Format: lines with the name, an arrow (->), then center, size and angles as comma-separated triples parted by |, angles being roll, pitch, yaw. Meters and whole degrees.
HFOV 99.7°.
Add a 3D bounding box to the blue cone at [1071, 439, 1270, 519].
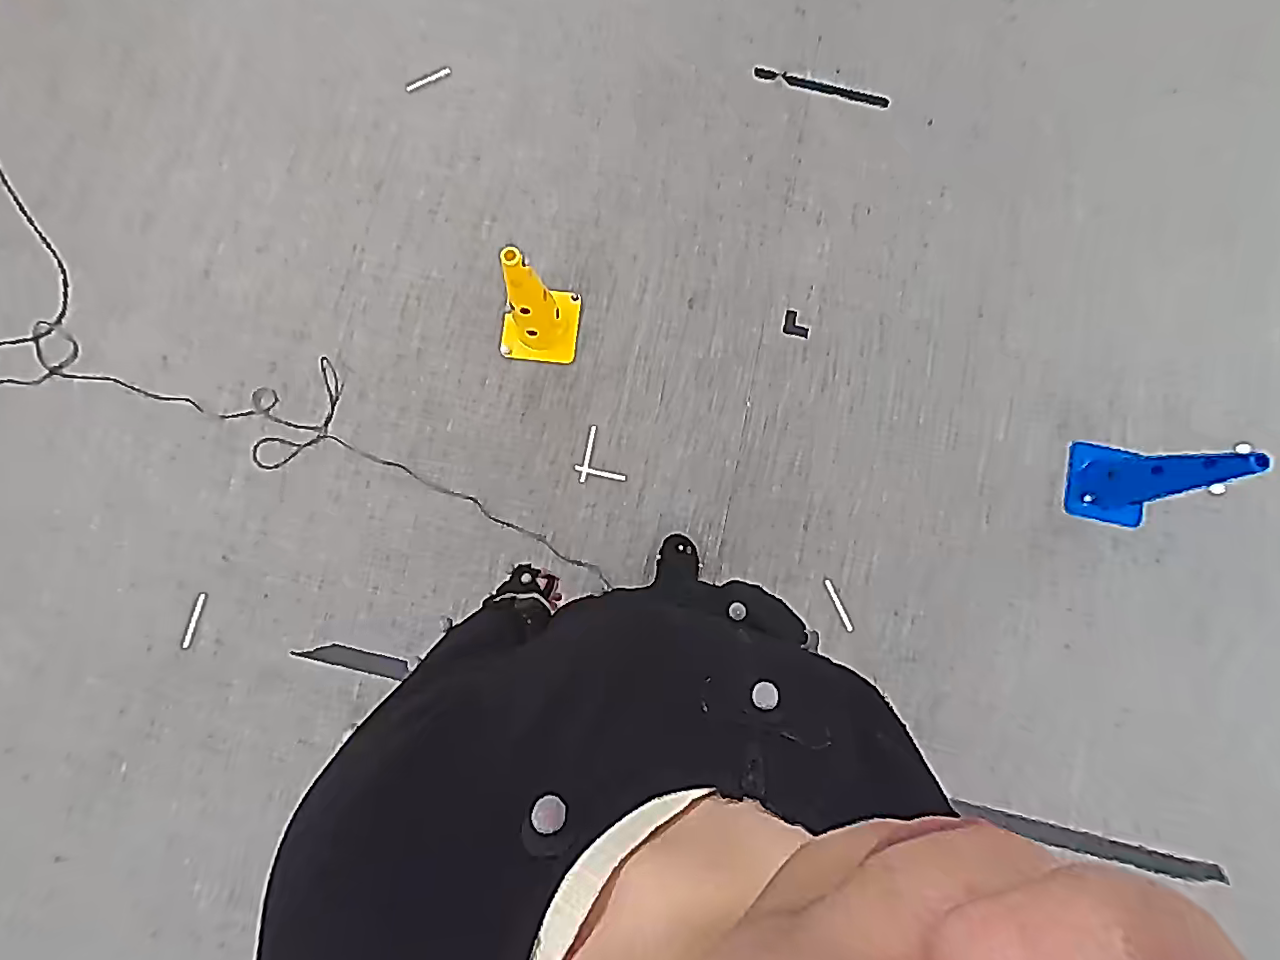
blue cone -> 1.215, -0.026, 1.240 | 0.193, 0.380, 0.192 | 13, 81, 1
